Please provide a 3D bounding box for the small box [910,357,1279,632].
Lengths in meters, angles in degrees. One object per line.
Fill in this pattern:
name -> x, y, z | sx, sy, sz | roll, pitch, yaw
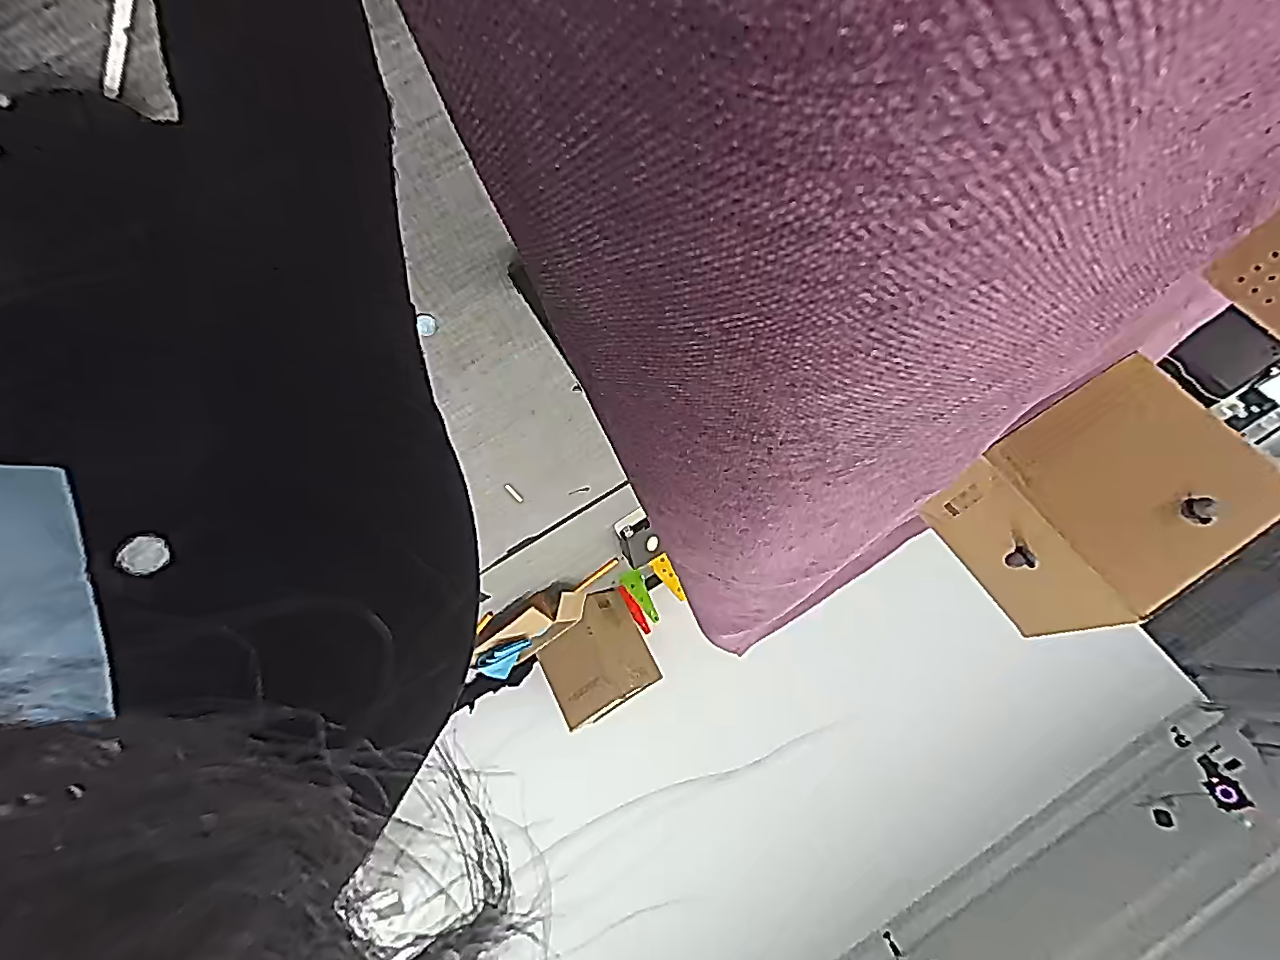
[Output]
small box -> 0.403, 0.019, 0.520 | 0.179, 0.176, 0.168 | -32, 159, -6
